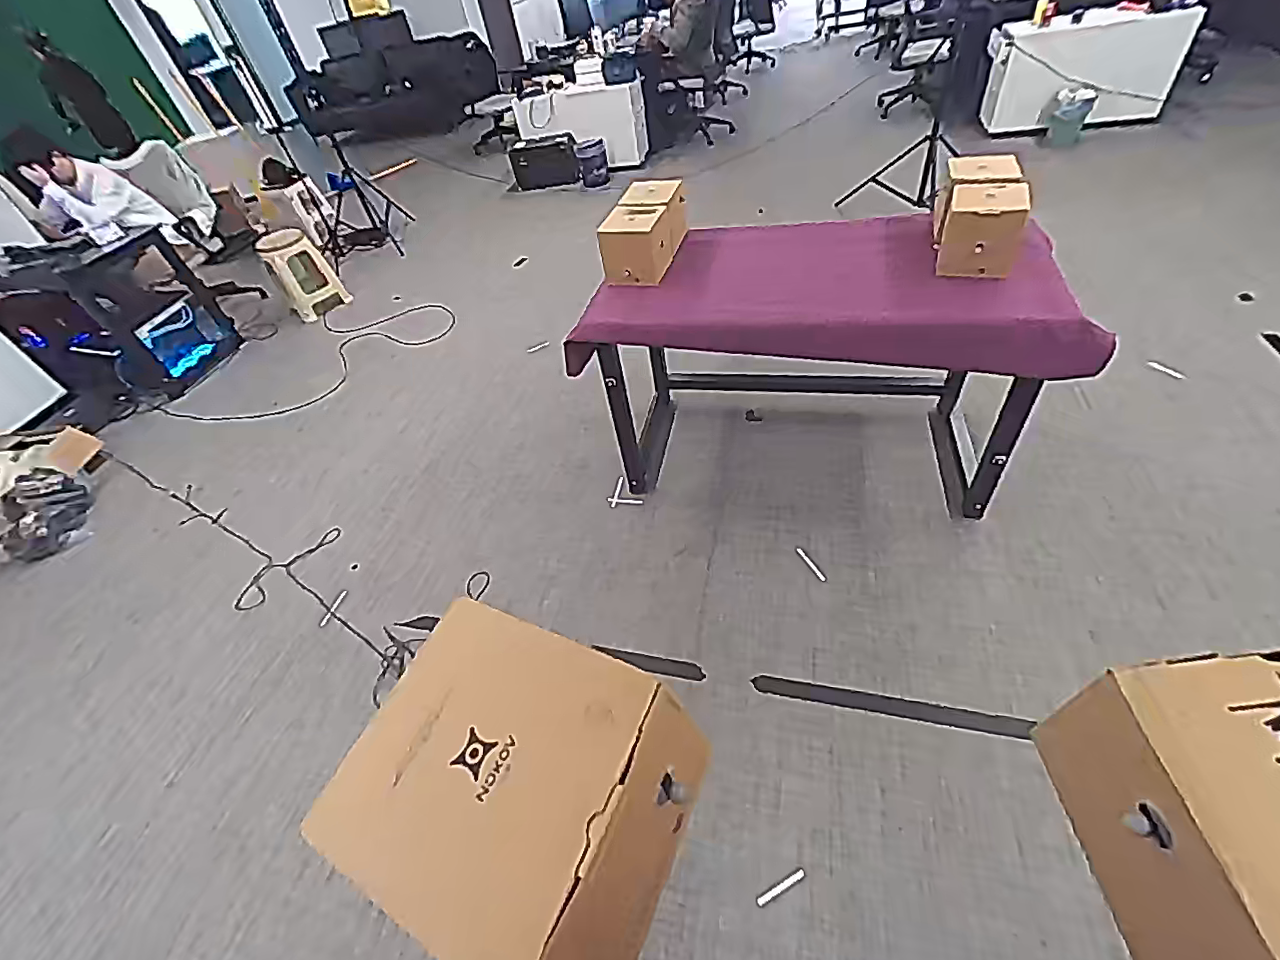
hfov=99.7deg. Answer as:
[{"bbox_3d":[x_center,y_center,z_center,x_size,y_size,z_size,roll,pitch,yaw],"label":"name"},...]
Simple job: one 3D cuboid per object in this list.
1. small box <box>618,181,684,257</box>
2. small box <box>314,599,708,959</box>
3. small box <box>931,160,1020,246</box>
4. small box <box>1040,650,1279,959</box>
[{"bbox_3d":[0.042,-0.846,1.751,0.168,0.176,0.179,8,50,18],"label":"small box"},{"bbox_3d":[-0.067,0.214,0.381,0.179,0.176,0.168,12,56,29],"label":"small box"},{"bbox_3d":[0.925,-0.773,1.508,0.168,0.176,0.179,8,48,17],"label":"small box"},{"bbox_3d":[0.381,0.212,0.317,0.168,0.176,0.179,-12,52,11],"label":"small box"}]
